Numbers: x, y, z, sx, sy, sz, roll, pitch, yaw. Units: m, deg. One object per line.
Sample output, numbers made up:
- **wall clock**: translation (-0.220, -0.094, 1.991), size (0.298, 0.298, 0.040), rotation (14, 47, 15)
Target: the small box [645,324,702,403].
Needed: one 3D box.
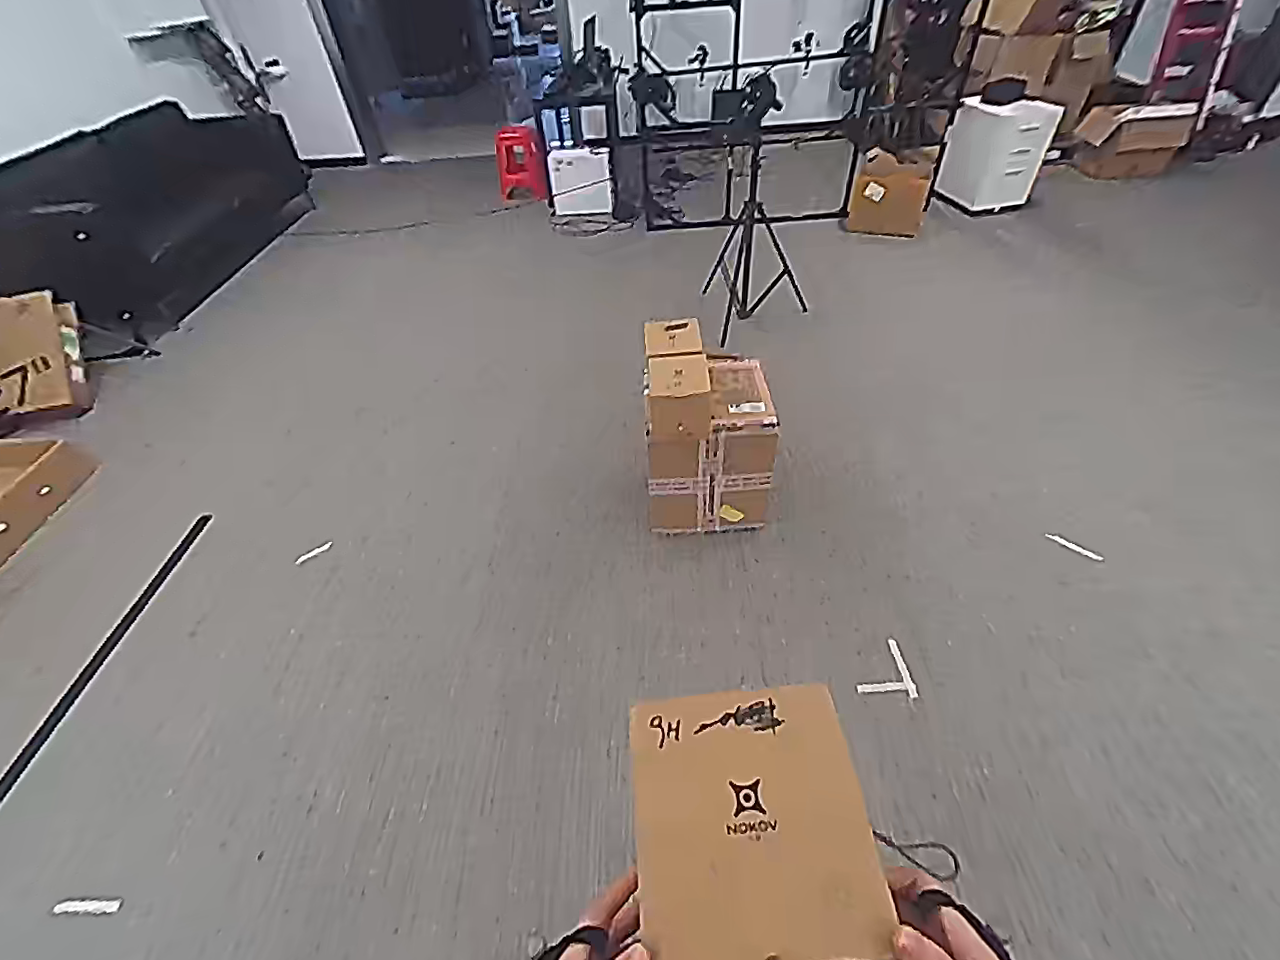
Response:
- **small box**: translation (0.102, -0.359, 1.668), size (0.168, 0.176, 0.179), rotation (-5, 47, 3)
